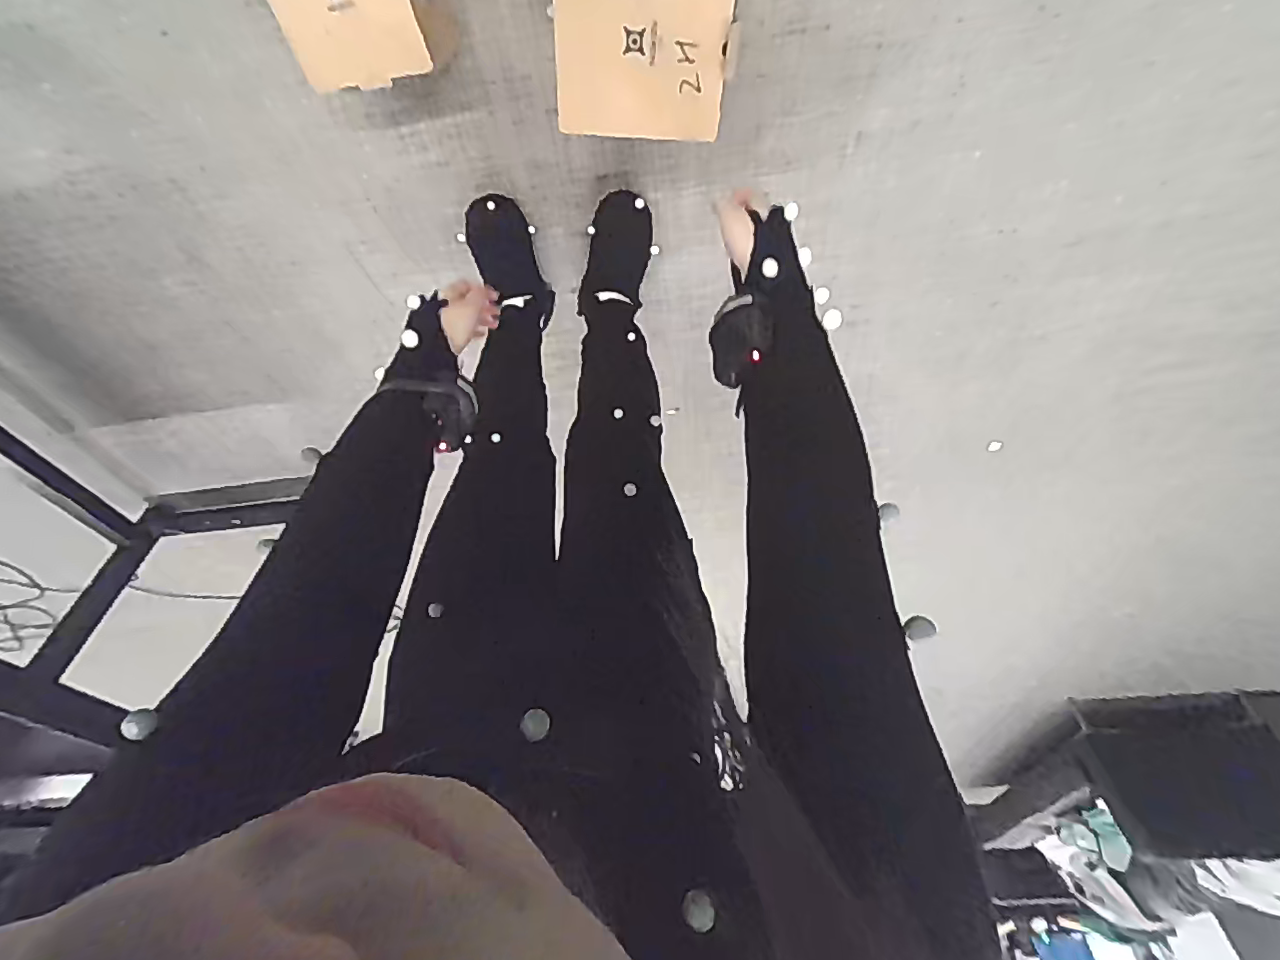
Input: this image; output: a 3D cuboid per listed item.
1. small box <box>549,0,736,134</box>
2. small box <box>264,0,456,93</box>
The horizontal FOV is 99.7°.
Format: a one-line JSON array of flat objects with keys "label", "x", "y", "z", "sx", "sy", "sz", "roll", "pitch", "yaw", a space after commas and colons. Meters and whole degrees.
[{"label": "small box", "x": 0.001, "y": -0.487, "z": 0.566, "sx": 0.179, "sy": 0.176, "sz": 0.168, "roll": 1, "pitch": 140, "yaw": -3}, {"label": "small box", "x": -0.348, "y": -0.615, "z": 0.663, "sx": 0.168, "sy": 0.176, "sz": 0.179, "roll": -7, "pitch": 138, "yaw": 7}]
